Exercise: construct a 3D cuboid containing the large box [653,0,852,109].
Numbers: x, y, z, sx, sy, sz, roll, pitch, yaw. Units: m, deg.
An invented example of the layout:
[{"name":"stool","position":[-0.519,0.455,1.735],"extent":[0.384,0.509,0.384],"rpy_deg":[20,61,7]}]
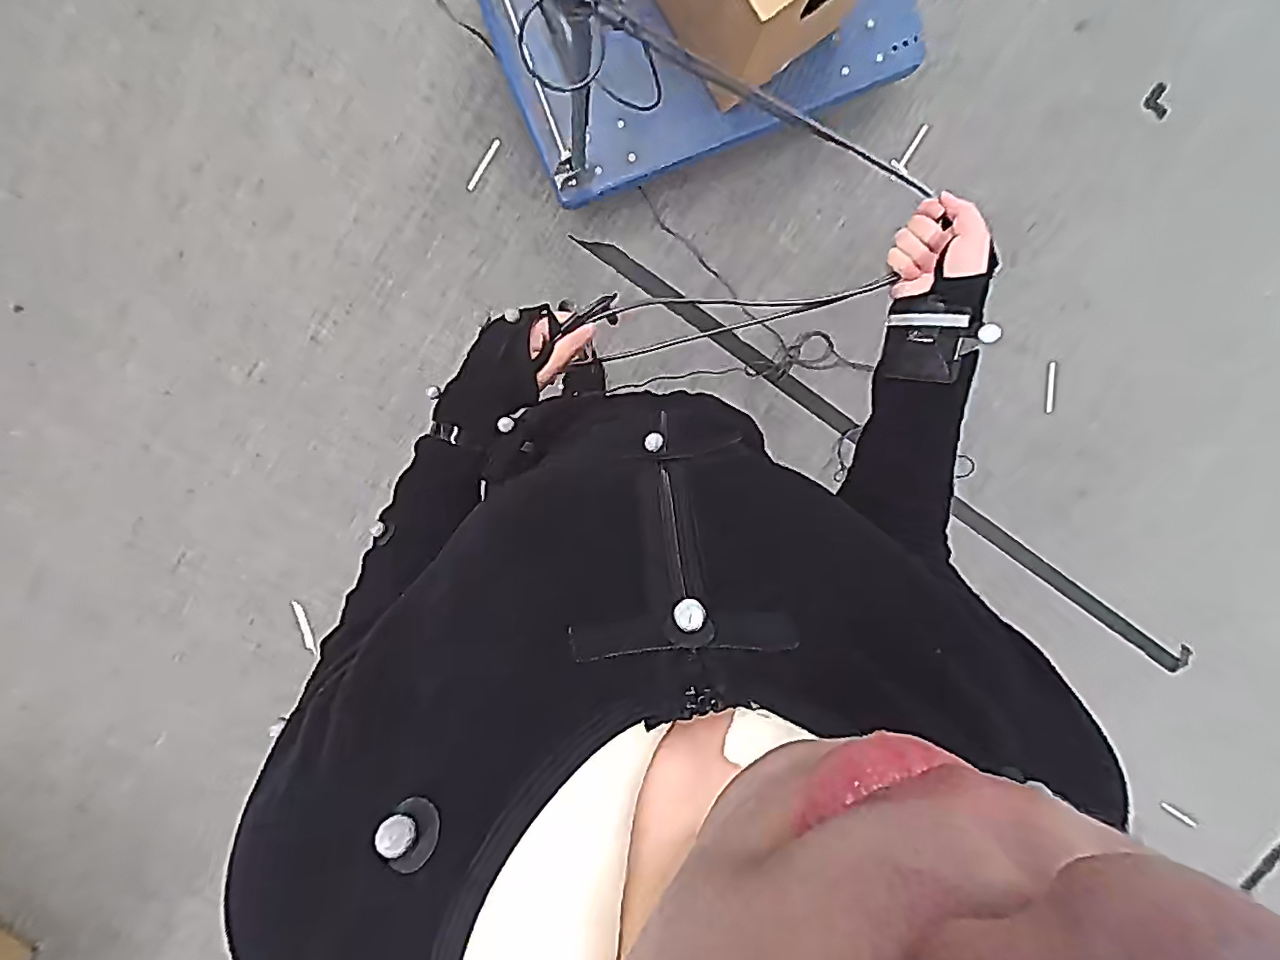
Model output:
[{"name":"large box","position":[0.193,-1.011,0.979],"extent":[0.320,0.320,0.408],"rpy_deg":[-36,102,4]}]
